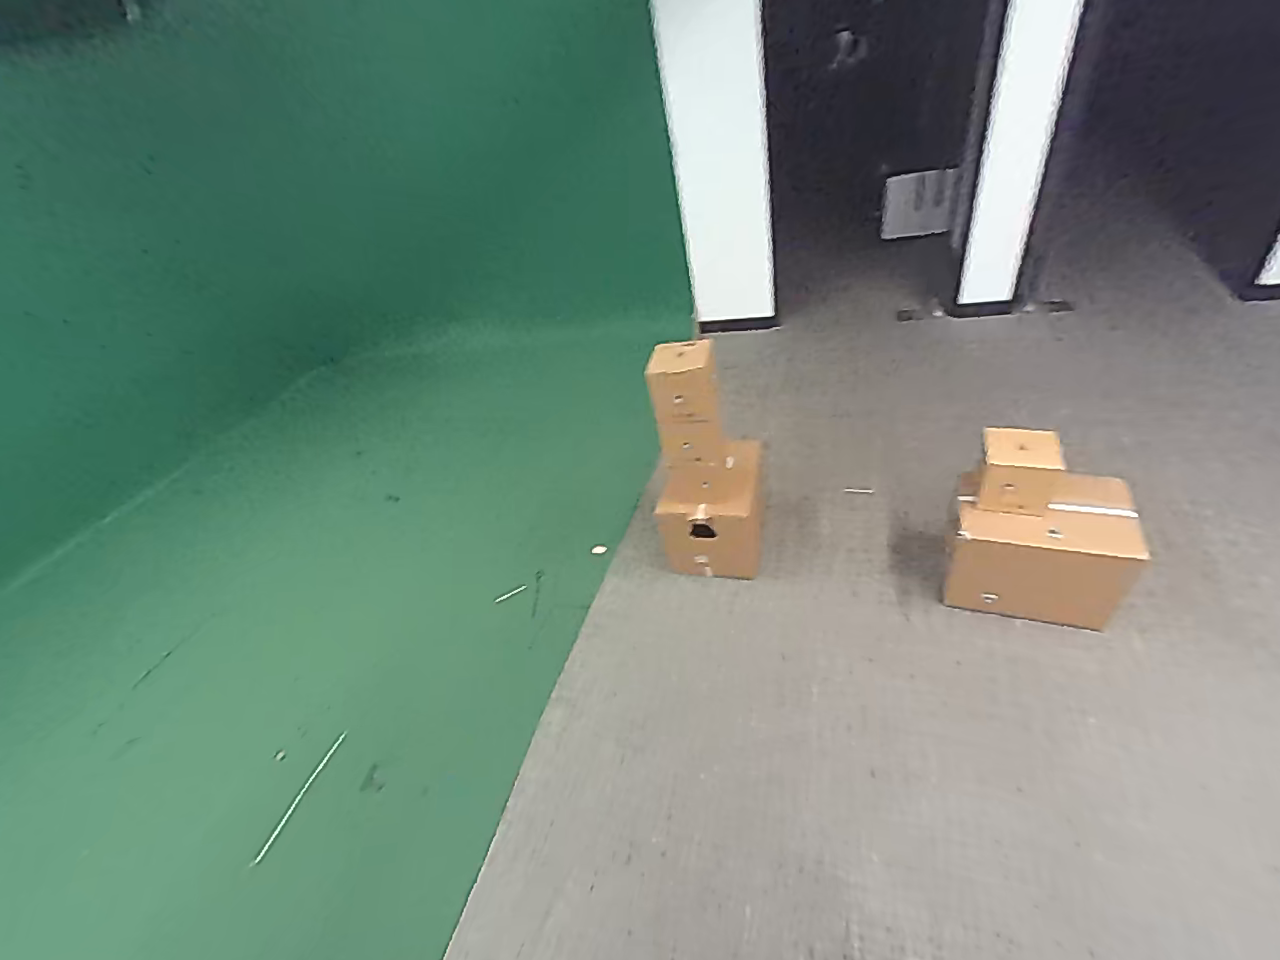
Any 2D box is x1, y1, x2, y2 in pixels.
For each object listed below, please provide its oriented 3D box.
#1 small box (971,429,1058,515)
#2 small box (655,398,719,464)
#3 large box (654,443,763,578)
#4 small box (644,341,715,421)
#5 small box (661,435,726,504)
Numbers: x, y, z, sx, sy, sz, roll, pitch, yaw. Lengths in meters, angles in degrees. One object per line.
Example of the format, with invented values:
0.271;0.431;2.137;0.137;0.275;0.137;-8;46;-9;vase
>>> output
1.031;-0.023;1.502;0.168;0.176;0.179;6;41;24;small box
0.154;-0.160;1.687;0.168;0.176;0.179;-2;39;15;small box
0.268;0.107;1.980;0.320;0.320;0.408;1;40;19;large box
0.123;-0.284;1.583;0.168;0.176;0.179;-1;41;17;small box
0.185;-0.032;1.784;0.179;0.176;0.168;0;40;19;small box
